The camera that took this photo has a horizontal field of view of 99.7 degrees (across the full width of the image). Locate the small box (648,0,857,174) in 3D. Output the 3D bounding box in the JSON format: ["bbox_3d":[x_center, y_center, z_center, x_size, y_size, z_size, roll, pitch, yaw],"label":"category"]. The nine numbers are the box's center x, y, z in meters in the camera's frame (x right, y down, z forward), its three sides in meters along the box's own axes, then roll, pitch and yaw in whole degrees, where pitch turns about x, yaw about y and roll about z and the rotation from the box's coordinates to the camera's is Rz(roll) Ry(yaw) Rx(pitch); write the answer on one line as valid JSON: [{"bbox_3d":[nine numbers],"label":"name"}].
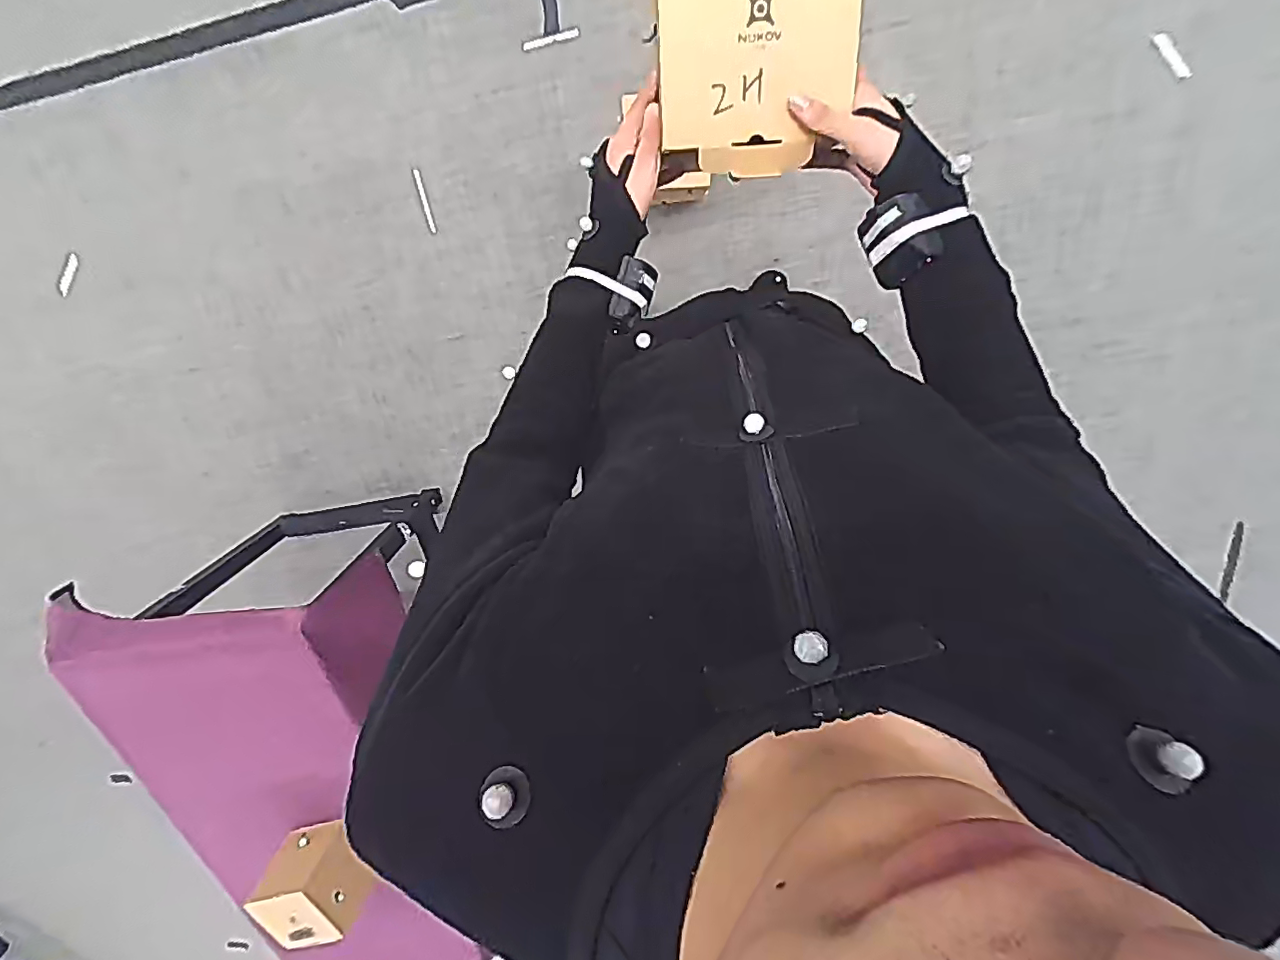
[{"bbox_3d":[0.094,-0.405,0.515,0.168,0.176,0.179,-3,113,1],"label":"small box"}]

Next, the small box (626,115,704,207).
[{"bbox_3d":[0.063,-0.761,1.296,0.168,0.176,0.179,-6,113,5],"label":"small box"}]

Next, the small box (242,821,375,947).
[{"bbox_3d":[-0.769,0.951,1.279,0.168,0.176,0.179,-19,111,10],"label":"small box"}]
